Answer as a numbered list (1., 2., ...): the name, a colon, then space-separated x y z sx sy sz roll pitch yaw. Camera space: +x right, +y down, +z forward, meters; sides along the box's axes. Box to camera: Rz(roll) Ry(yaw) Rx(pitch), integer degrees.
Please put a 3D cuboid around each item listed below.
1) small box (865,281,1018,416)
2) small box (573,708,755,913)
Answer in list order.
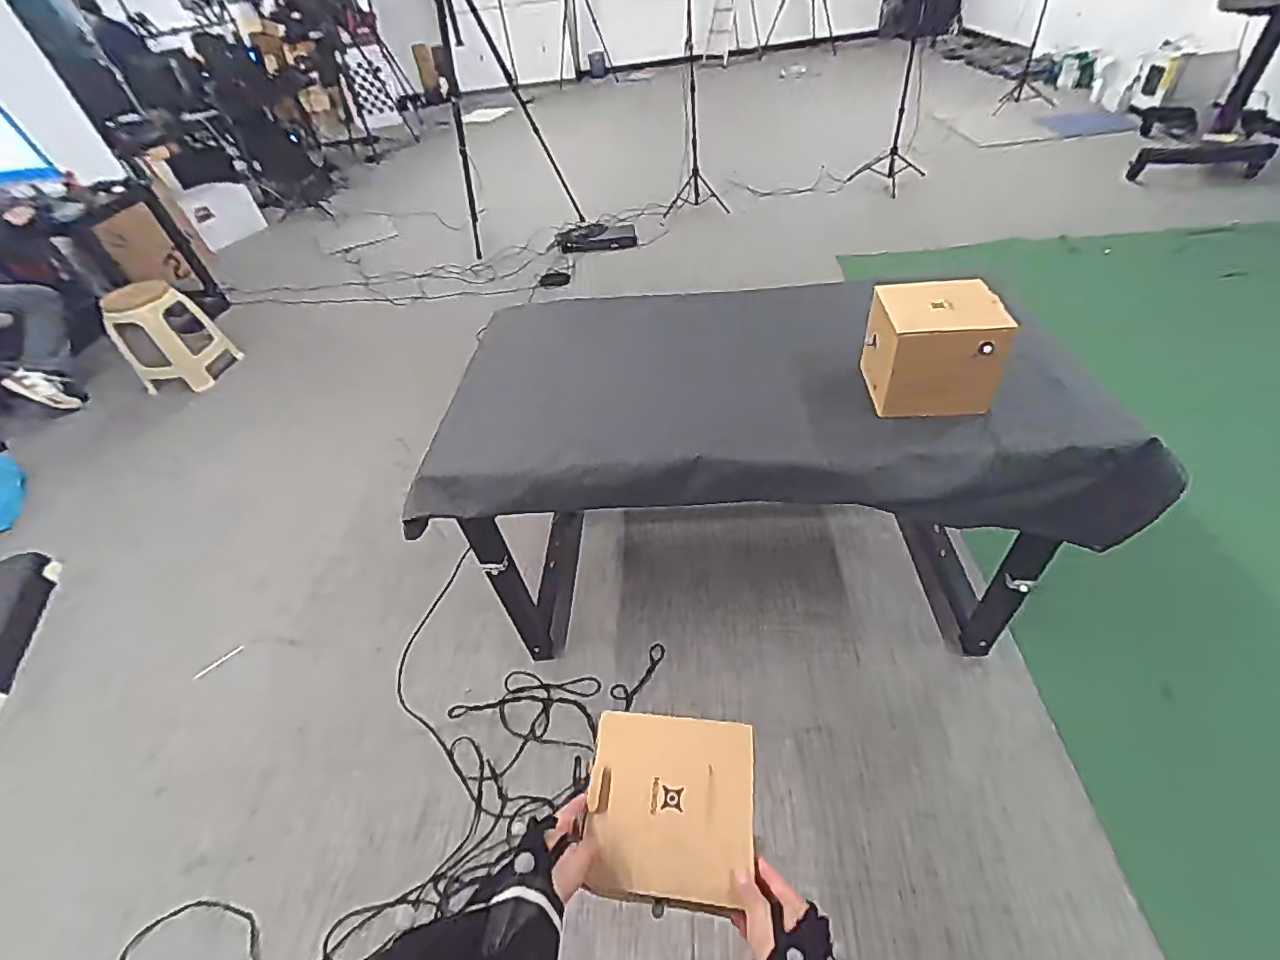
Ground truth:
1. small box: 0.495 -0.221 0.926 0.179 0.176 0.168 -1 44 8
2. small box: 0.039 0.379 0.619 0.179 0.176 0.168 2 50 9
